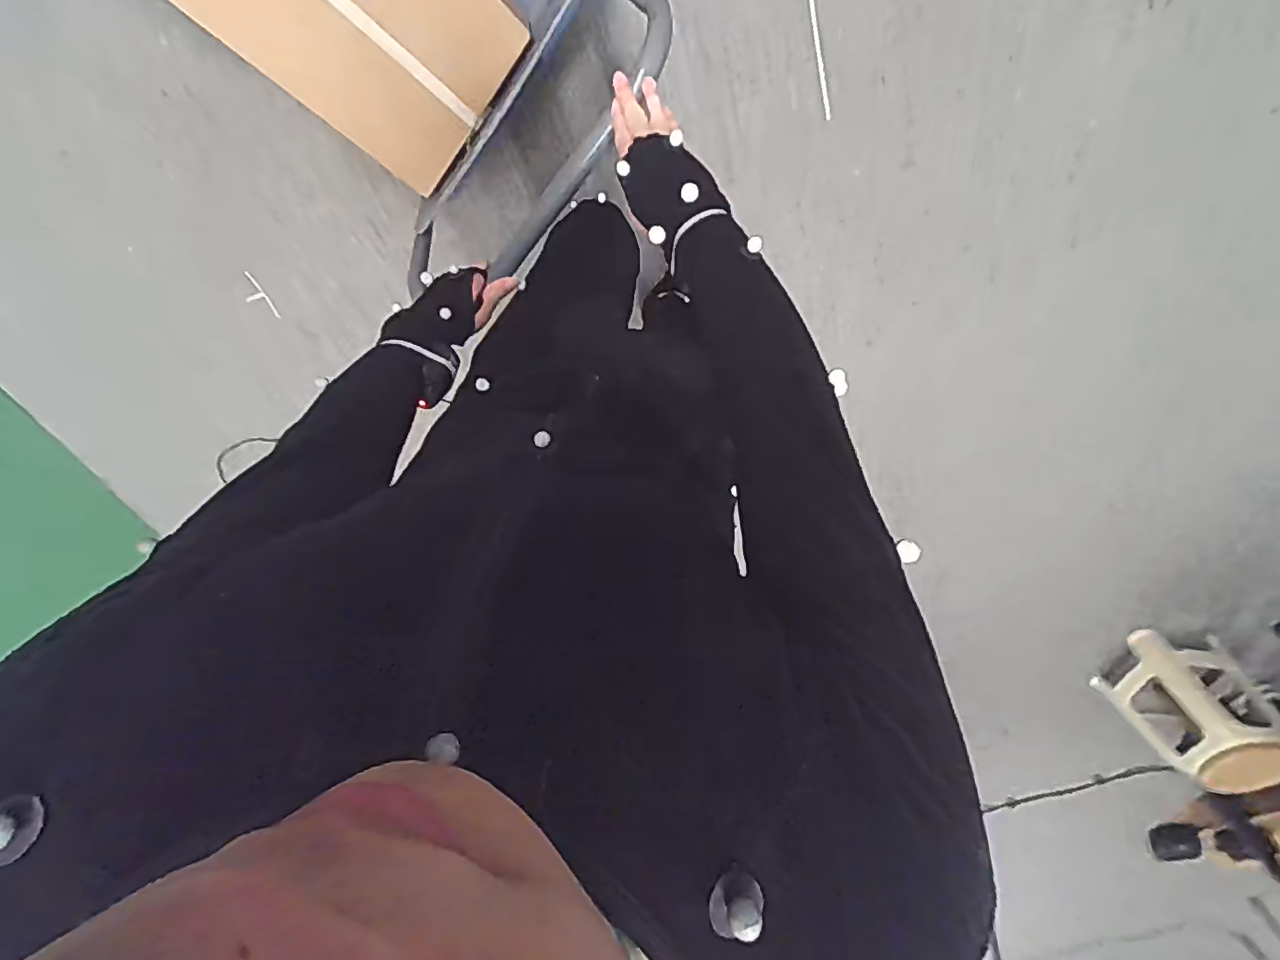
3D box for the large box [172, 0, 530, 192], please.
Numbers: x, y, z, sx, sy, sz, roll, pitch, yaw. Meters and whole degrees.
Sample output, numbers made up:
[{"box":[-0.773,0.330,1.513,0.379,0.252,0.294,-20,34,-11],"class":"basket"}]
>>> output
[{"box":[-0.430,-0.778,0.889,0.408,0.320,0.320,31,120,-34],"class":"large box"}]
